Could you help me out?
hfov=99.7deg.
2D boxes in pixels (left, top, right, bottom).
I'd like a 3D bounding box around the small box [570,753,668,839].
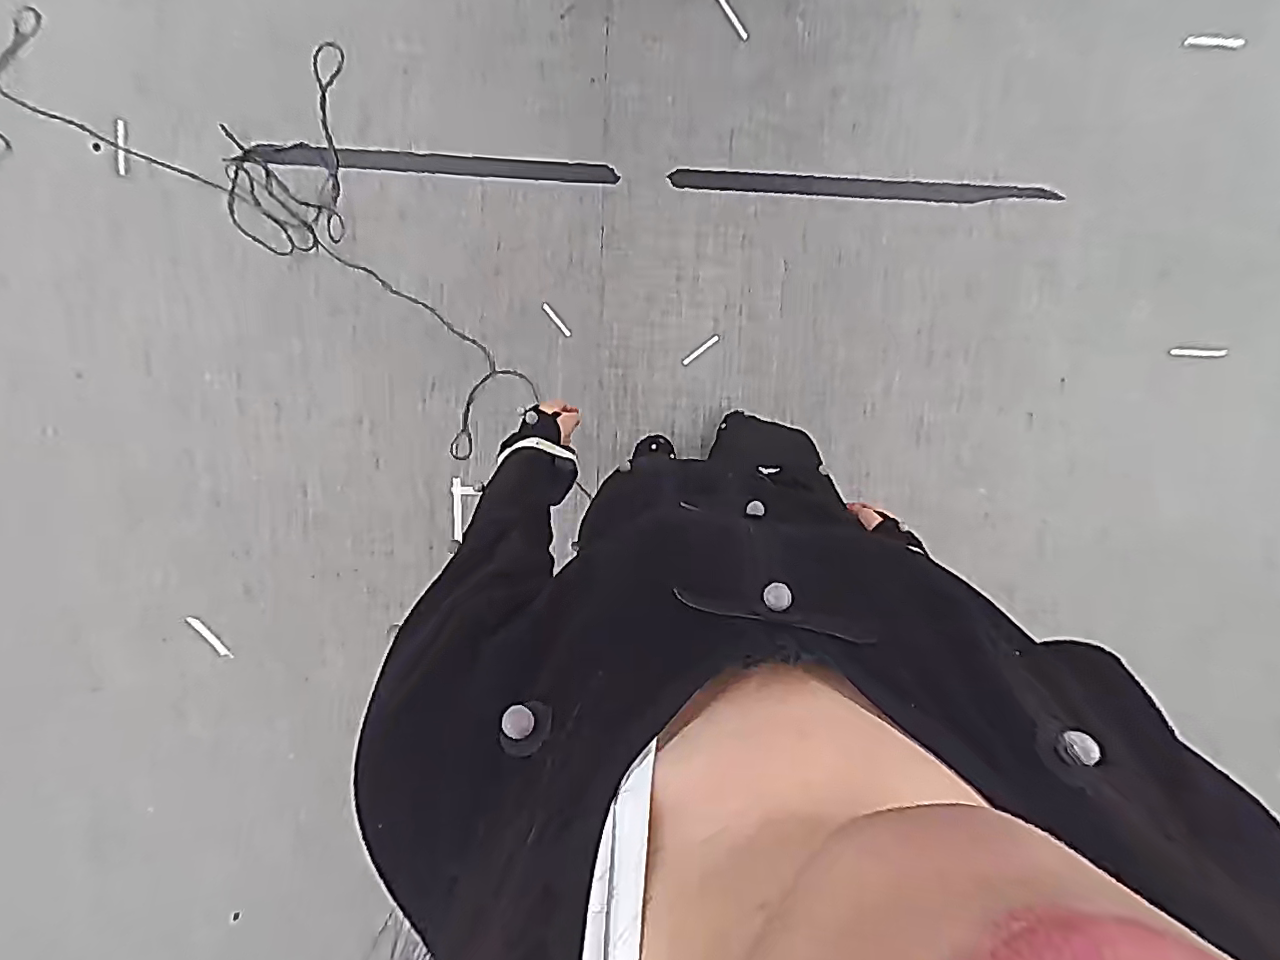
[{"bbox_3d":[-0.046,0.628,0.982,0.168,0.176,0.179,7,94,-1],"label":"small box"}]
